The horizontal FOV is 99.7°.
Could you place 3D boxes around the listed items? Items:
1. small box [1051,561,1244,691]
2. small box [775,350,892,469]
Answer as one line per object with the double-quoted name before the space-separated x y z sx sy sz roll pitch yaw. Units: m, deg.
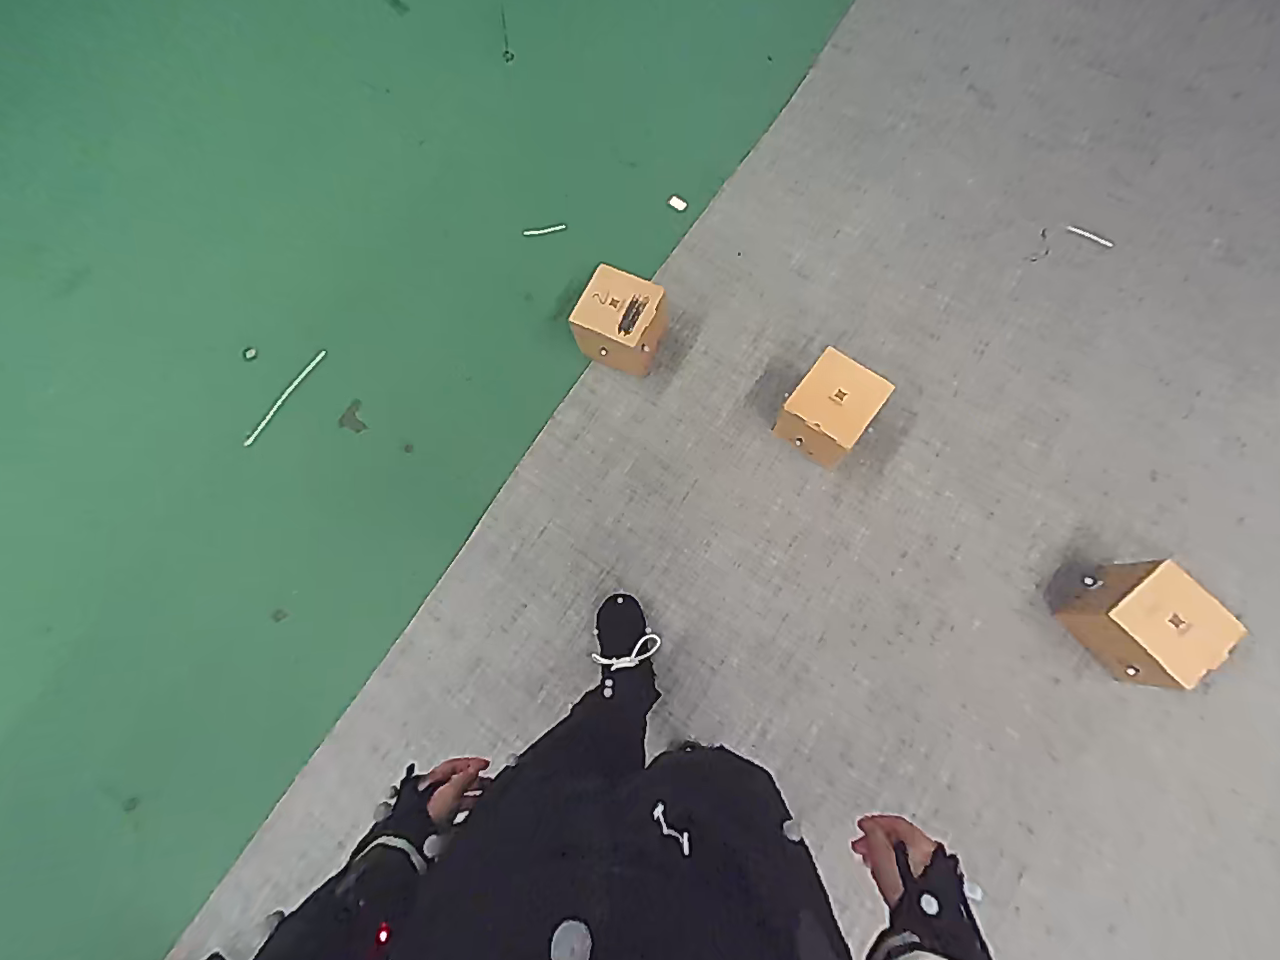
"small box" 0.978 0.281 1.060 0.168 0.176 0.179 -39 75 -6
"small box" 0.424 -0.152 1.219 0.168 0.176 0.179 36 83 13
